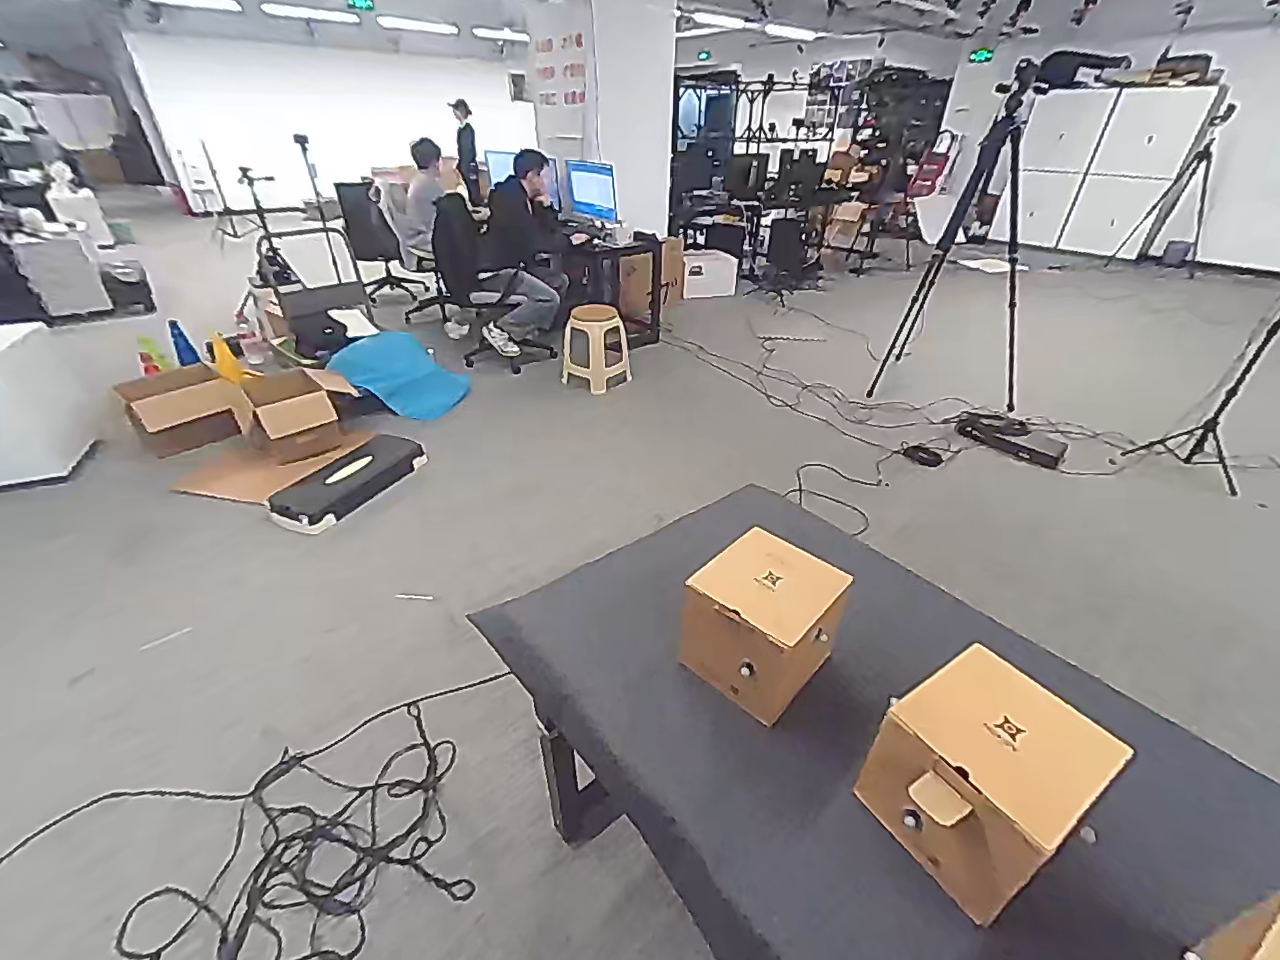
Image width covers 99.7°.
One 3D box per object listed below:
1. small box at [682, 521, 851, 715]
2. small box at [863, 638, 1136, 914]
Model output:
[{"bbox_3d":[0.173,0.195,0.779,0.168,0.176,0.179,29,41,34],"label":"small box"},{"bbox_3d":[0.377,0.318,0.597,0.179,0.176,0.168,-19,39,-27],"label":"small box"}]
